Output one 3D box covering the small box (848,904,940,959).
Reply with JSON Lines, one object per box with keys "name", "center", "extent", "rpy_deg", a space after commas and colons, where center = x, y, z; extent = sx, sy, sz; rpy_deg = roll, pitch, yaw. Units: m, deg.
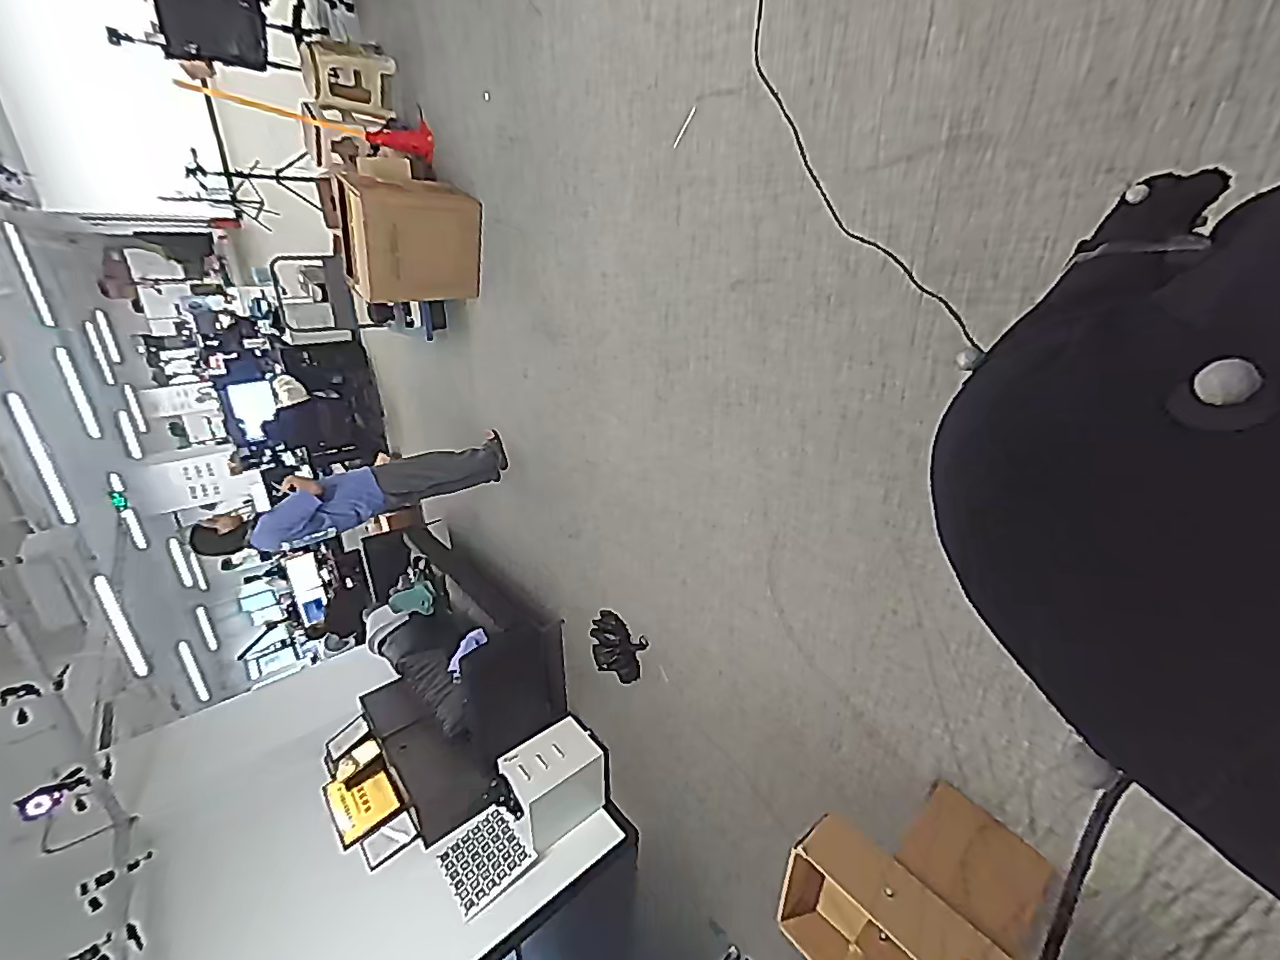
{"name": "small box", "center": [0.652, 1.266, 1.401], "extent": [0.168, 0.176, 0.179], "rpy_deg": [25, 125, 46]}
